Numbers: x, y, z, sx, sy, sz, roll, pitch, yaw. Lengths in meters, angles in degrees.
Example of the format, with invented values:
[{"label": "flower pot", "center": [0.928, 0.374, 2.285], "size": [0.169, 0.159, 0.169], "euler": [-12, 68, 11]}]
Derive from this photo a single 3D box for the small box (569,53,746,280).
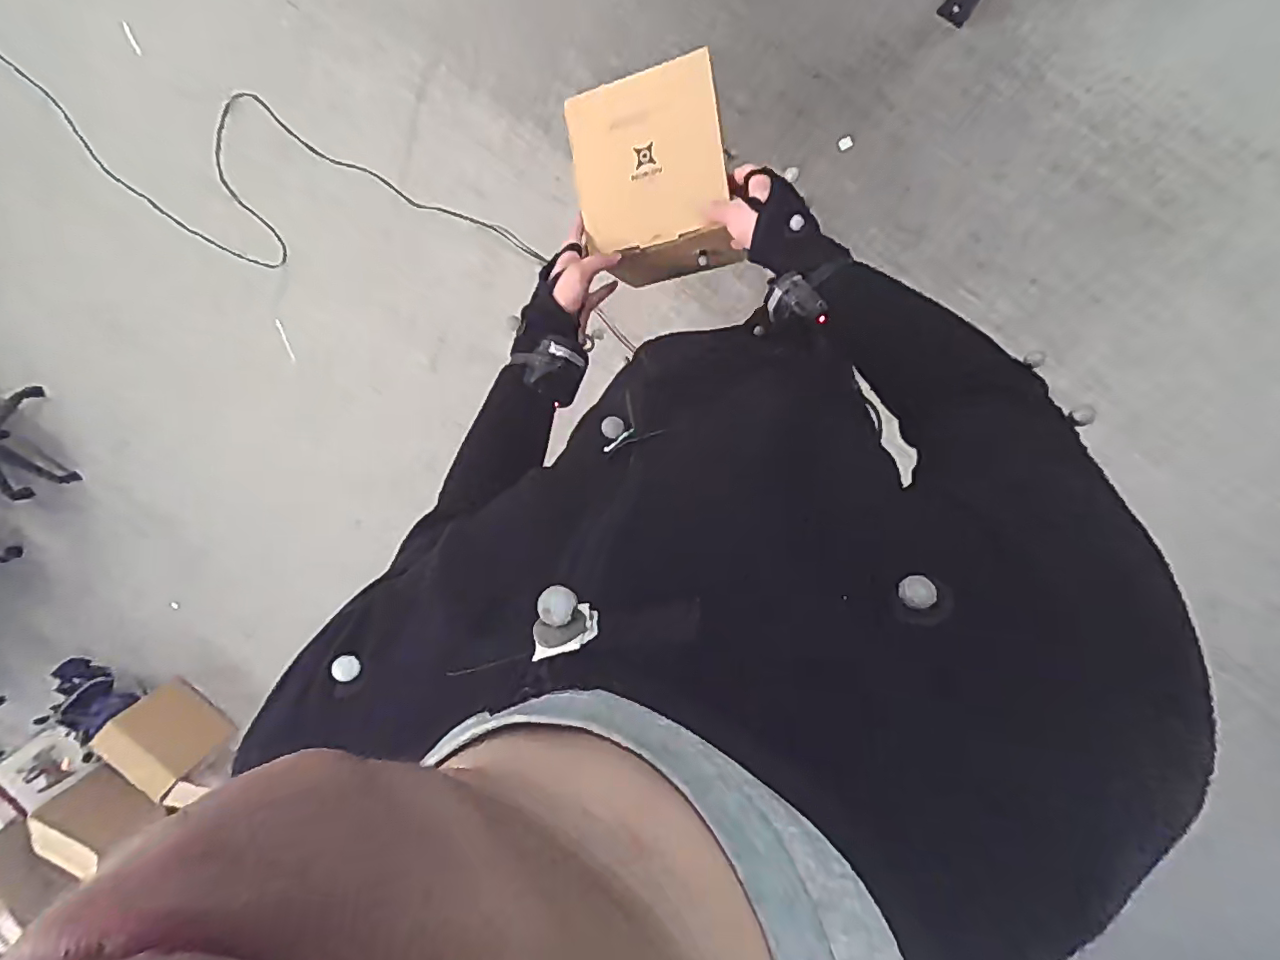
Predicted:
[{"label": "small box", "center": [0.033, -0.359, 0.666], "size": [0.168, 0.176, 0.179], "euler": [-8, 95, 17]}]
